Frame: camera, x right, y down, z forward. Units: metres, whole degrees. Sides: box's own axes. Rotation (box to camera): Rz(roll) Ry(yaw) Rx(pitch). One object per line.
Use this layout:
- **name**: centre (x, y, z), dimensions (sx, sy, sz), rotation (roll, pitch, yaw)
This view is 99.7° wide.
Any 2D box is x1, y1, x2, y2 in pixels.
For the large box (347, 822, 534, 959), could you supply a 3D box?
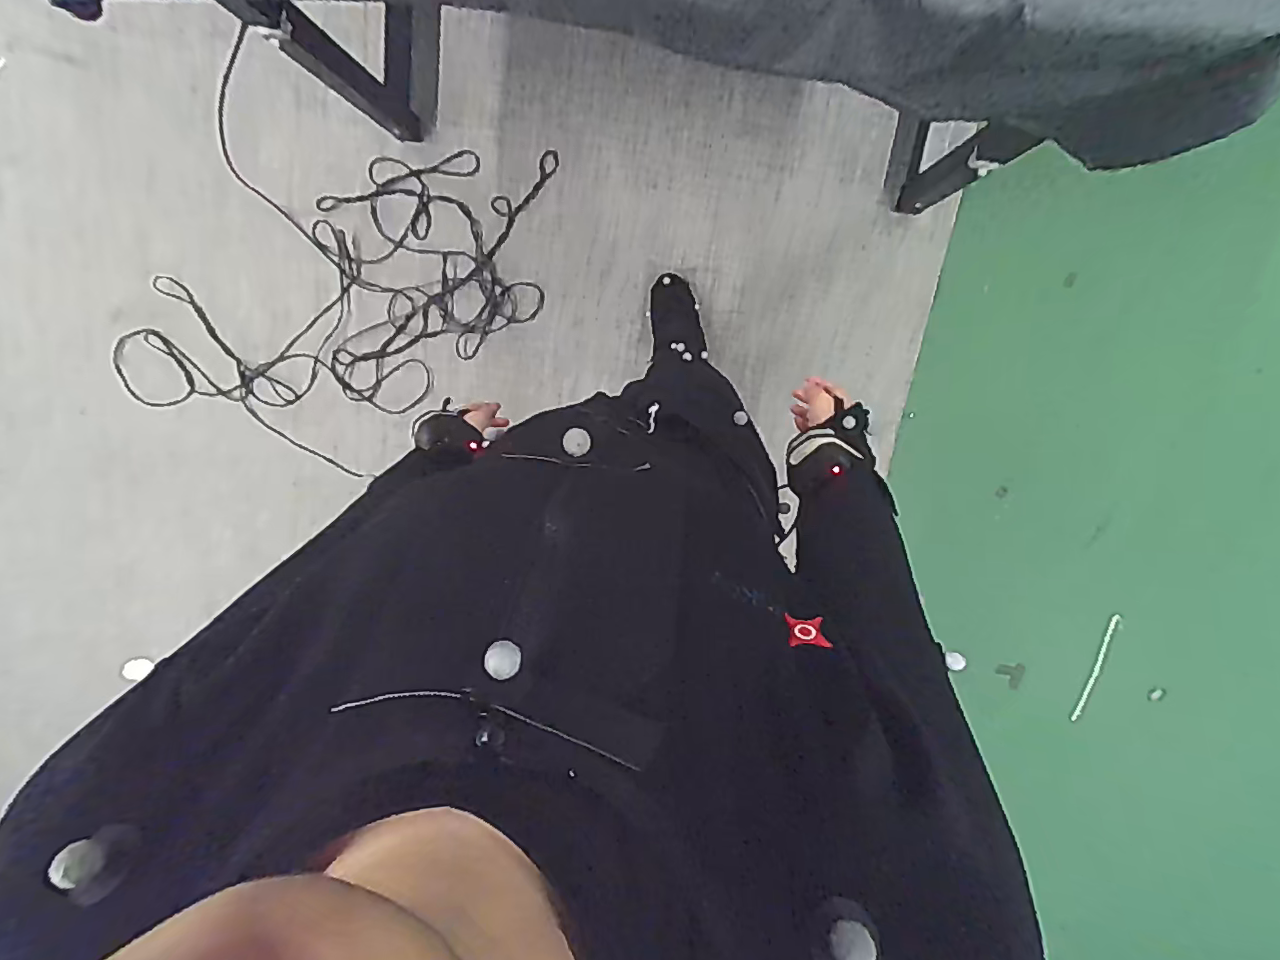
- **large box**: centre (-0.554, 1.262, 1.538), dimensions (0.408, 0.320, 0.320), rotation (15, 103, 1)
